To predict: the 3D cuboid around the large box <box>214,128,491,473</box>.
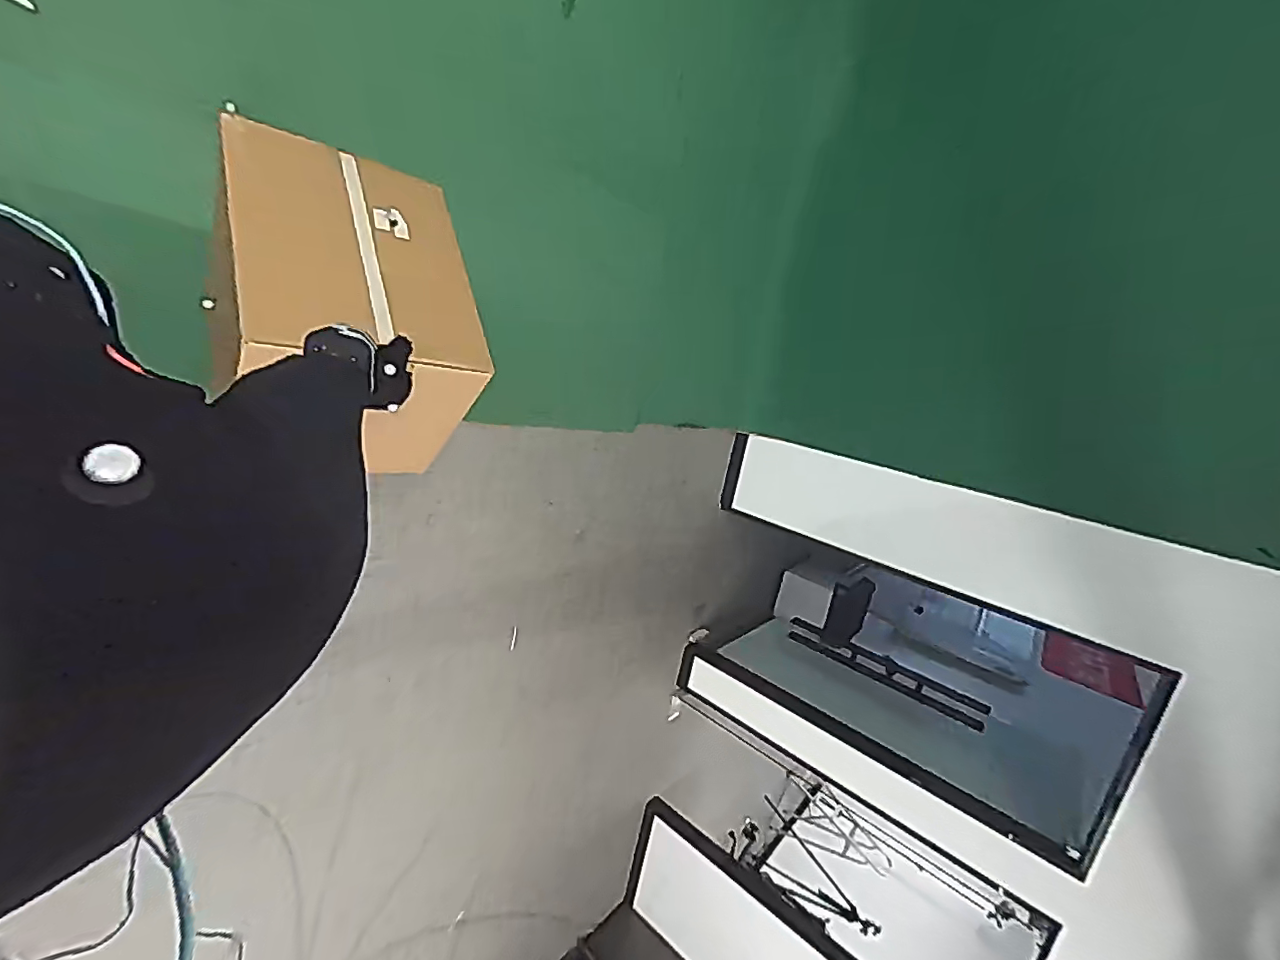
[{"bbox_3d":[-0.493,-0.257,0.895,0.320,0.408,0.320,-1,151,-43],"label":"large box"}]
